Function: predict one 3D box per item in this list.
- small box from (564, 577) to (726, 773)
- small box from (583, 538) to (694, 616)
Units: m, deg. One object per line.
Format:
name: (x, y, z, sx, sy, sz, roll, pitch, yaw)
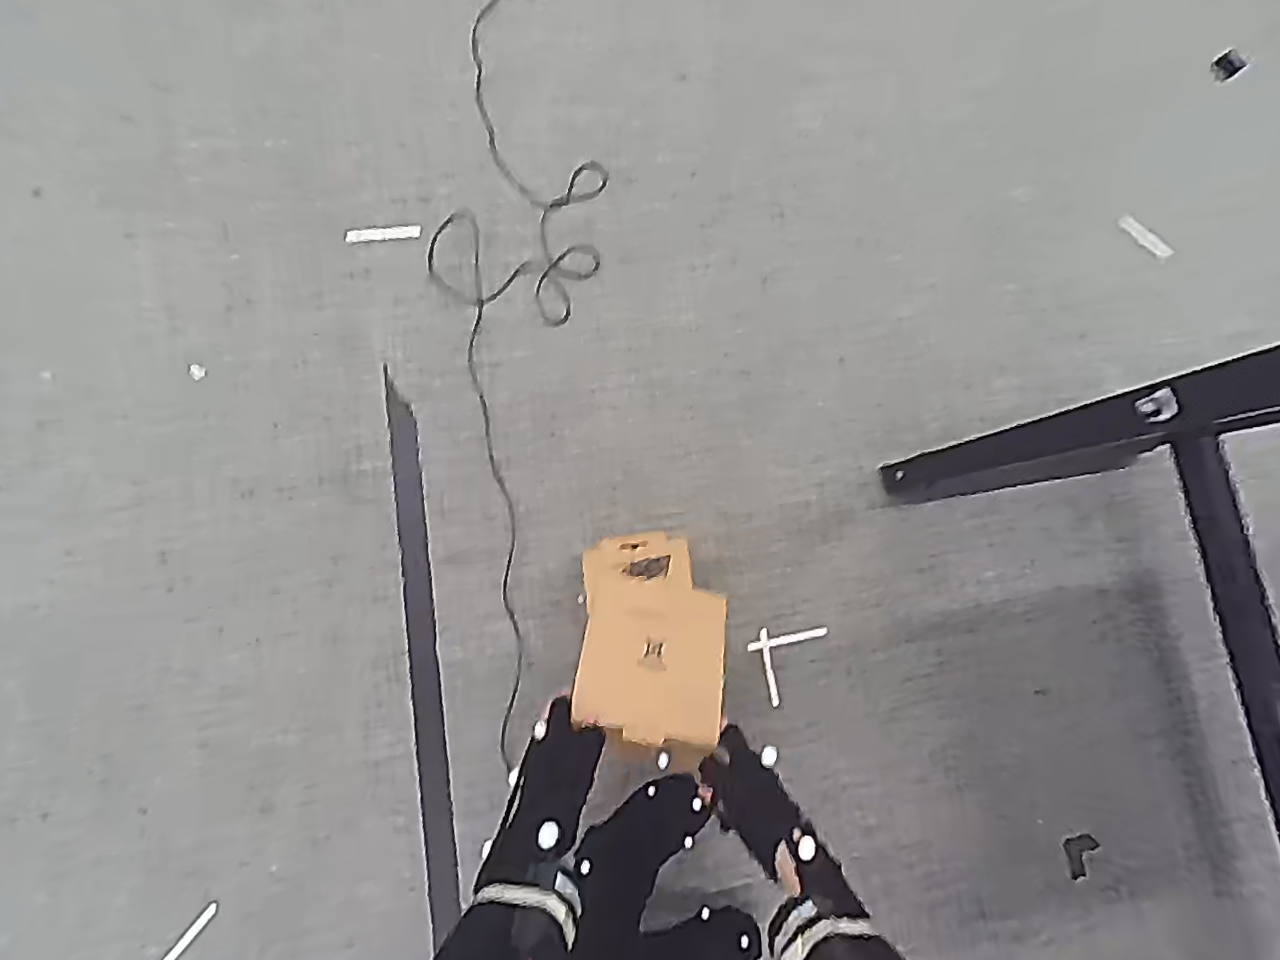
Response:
small box: (0.003, 0.248, 0.674, 0.168, 0.176, 0.179, 12, 51, -3)
small box: (-0.006, 0.196, 0.896, 0.168, 0.176, 0.179, -6, 82, -6)
